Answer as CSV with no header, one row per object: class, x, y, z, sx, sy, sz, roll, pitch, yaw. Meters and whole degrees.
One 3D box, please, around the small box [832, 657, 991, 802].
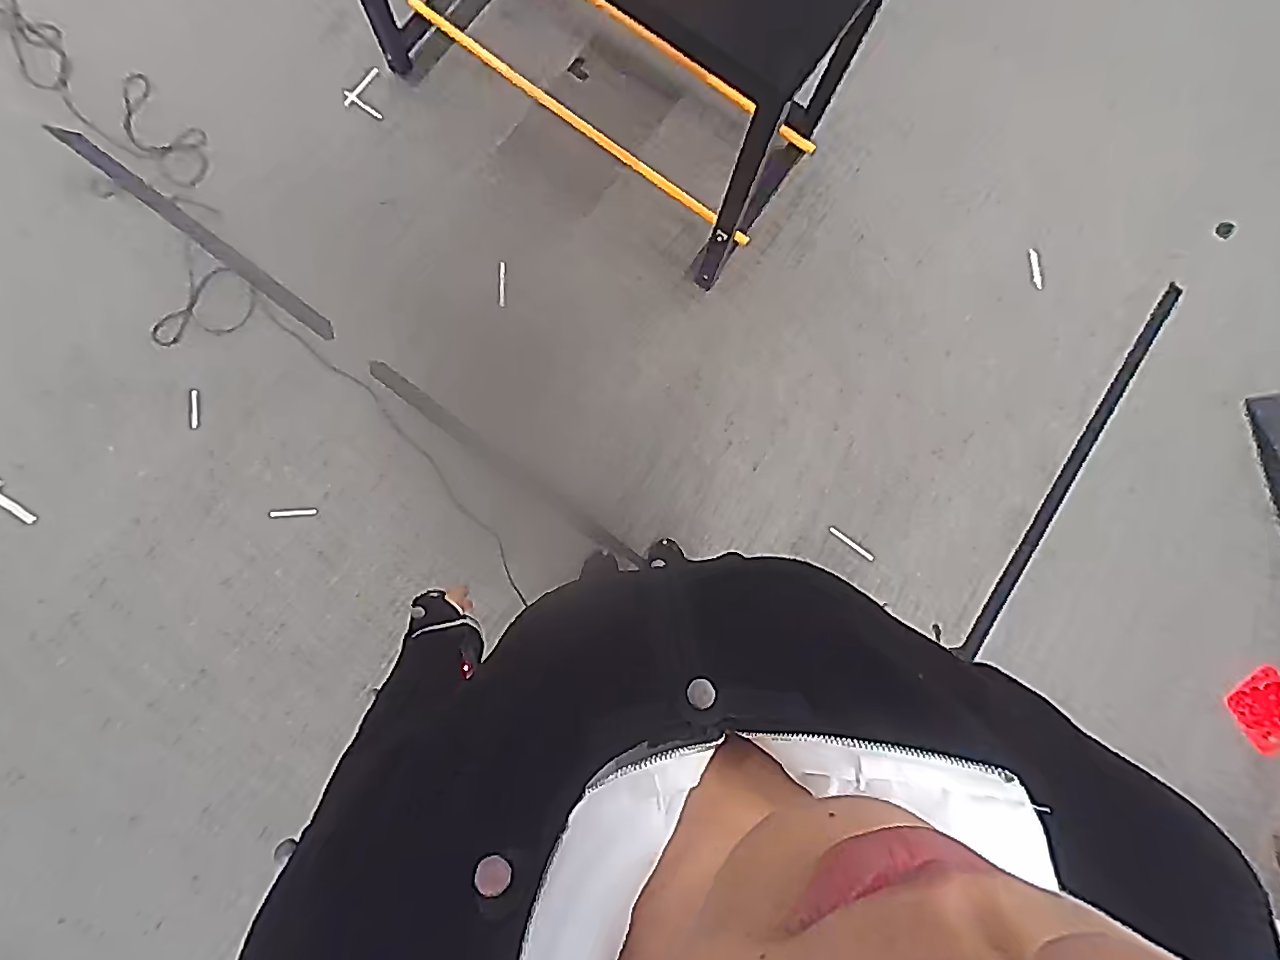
small box,0.506,0.460,1.031,0.179,0.176,0.168,33,81,0
